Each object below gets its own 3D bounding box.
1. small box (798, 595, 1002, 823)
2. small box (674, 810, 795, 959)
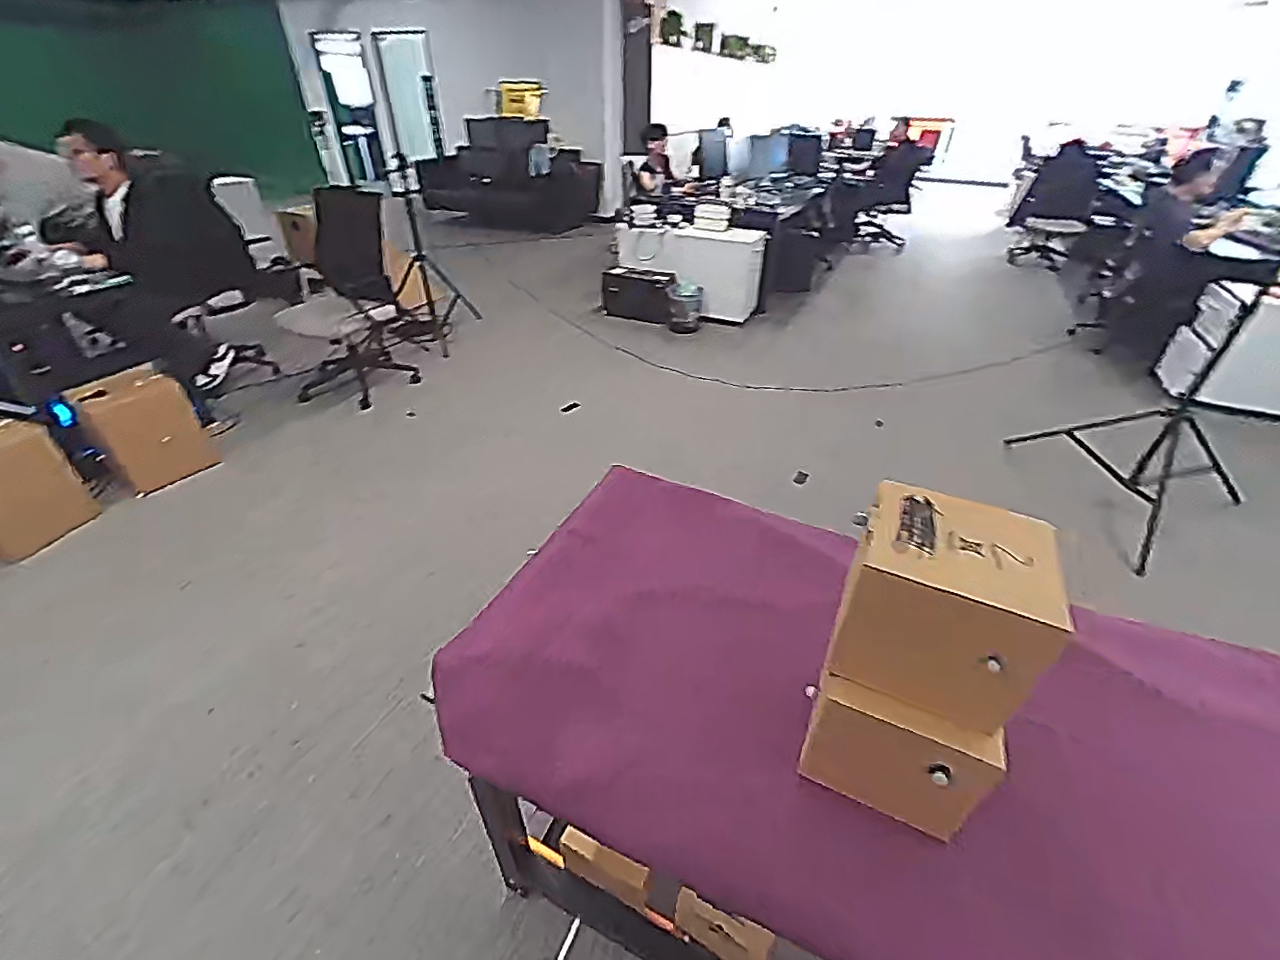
[{"bbox_3d":[0.311,0.280,0.664,0.179,0.176,0.168,16,37,20],"label":"small box"},{"bbox_3d":[0.174,0.783,1.022,0.168,0.176,0.179,20,40,24],"label":"small box"}]
